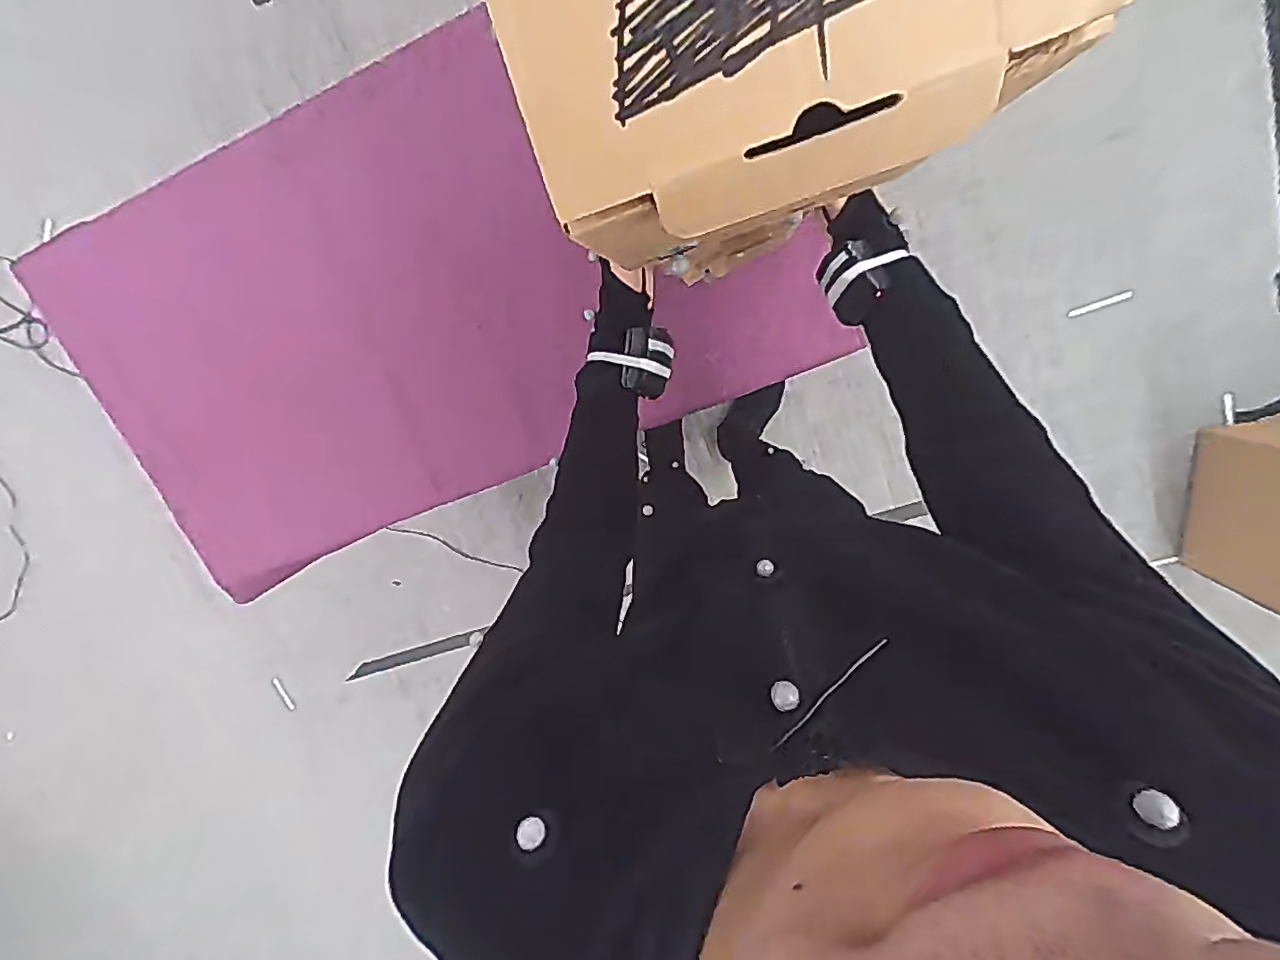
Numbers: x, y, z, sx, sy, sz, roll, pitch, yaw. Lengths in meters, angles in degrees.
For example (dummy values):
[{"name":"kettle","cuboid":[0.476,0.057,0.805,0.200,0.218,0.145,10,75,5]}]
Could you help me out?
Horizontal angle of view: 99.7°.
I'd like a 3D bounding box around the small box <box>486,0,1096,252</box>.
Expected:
[{"name":"small box","cuboid":[0.034,-0.206,0.219,0.168,0.176,0.179,-15,104,10]}]
